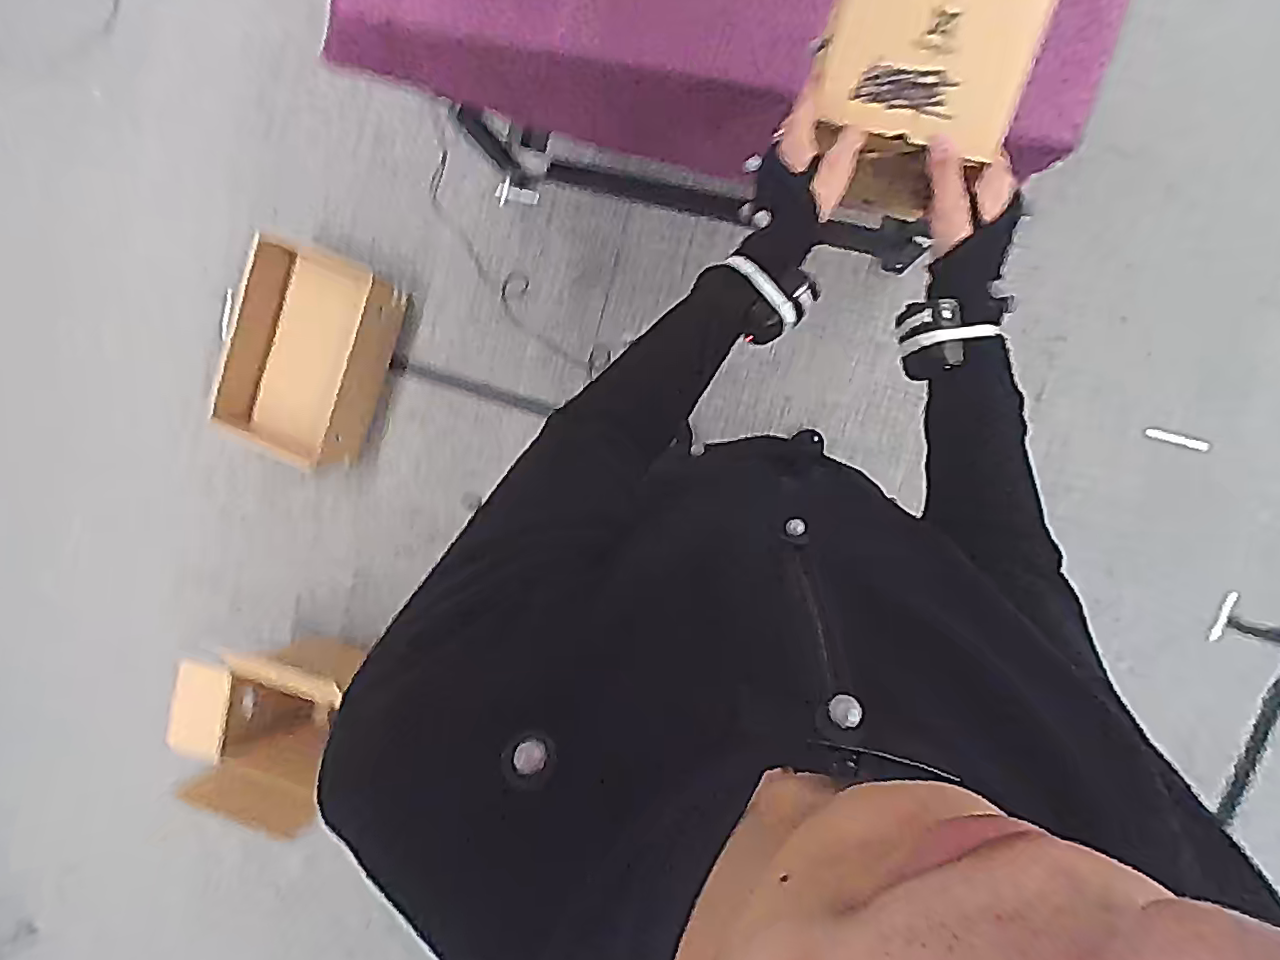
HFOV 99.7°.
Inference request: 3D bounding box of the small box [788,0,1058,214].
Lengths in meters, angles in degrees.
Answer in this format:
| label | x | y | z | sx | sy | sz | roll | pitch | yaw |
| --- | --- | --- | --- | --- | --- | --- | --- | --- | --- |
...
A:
| label | x | y | z | sx | sy | sz | roll | pitch | yaw |
| --- | --- | --- | --- | --- | --- | --- | --- | --- | --- |
| small box | 0.259 | -0.391 | 0.534 | 0.168 | 0.176 | 0.179 | 17 | 100 | 0 |
